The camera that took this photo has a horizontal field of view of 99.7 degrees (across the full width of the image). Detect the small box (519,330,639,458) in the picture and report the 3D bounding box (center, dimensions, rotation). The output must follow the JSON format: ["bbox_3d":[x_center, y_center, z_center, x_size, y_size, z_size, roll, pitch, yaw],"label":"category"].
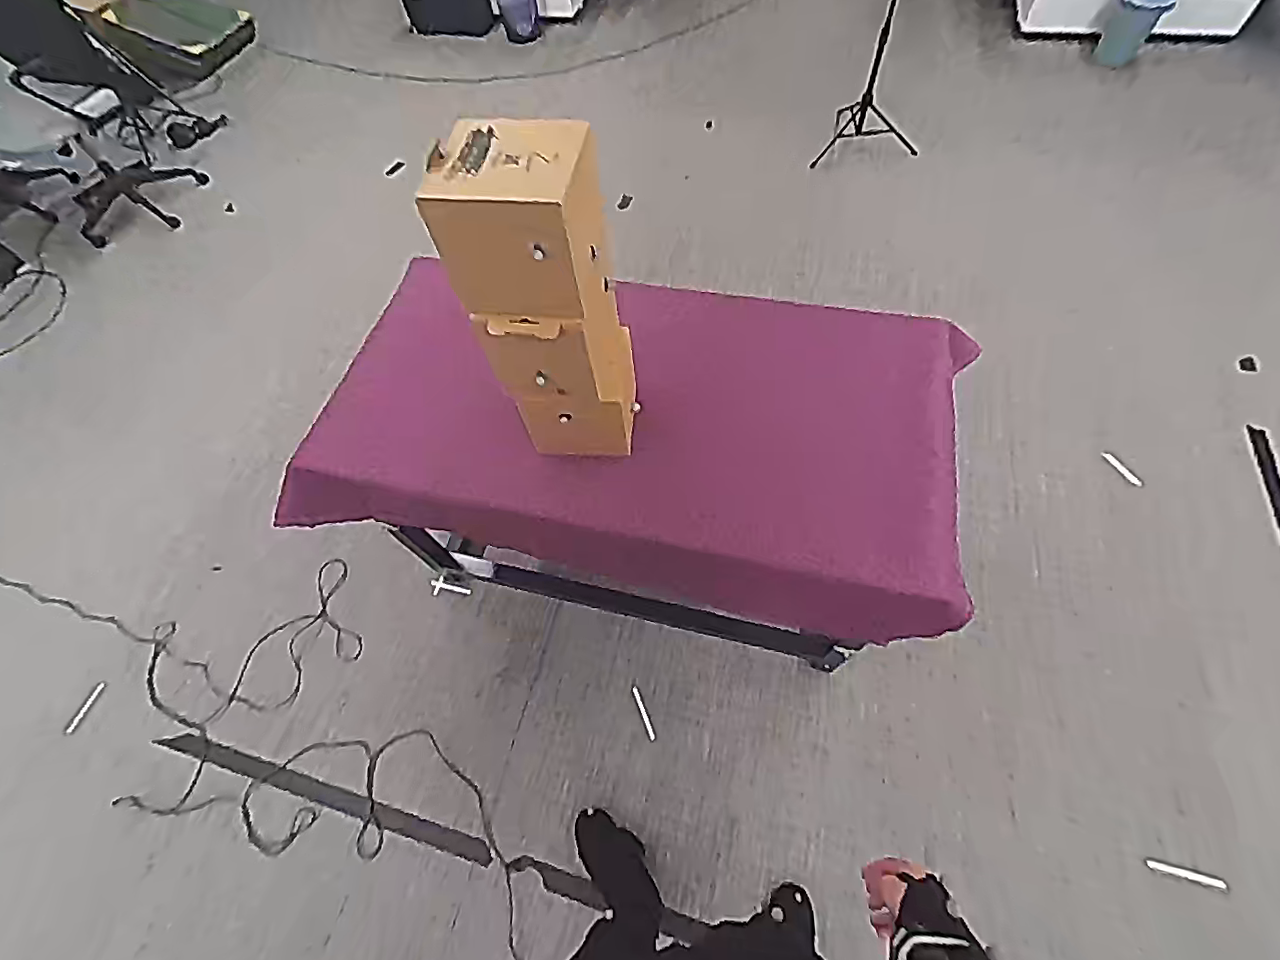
[{"bbox_3d":[-0.100,-0.152,0.981,0.179,0.176,0.168,2,61,5],"label":"small box"}]

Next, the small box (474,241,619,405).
[{"bbox_3d":[-0.131,-0.243,0.845,0.168,0.176,0.179,6,61,9],"label":"small box"}]
